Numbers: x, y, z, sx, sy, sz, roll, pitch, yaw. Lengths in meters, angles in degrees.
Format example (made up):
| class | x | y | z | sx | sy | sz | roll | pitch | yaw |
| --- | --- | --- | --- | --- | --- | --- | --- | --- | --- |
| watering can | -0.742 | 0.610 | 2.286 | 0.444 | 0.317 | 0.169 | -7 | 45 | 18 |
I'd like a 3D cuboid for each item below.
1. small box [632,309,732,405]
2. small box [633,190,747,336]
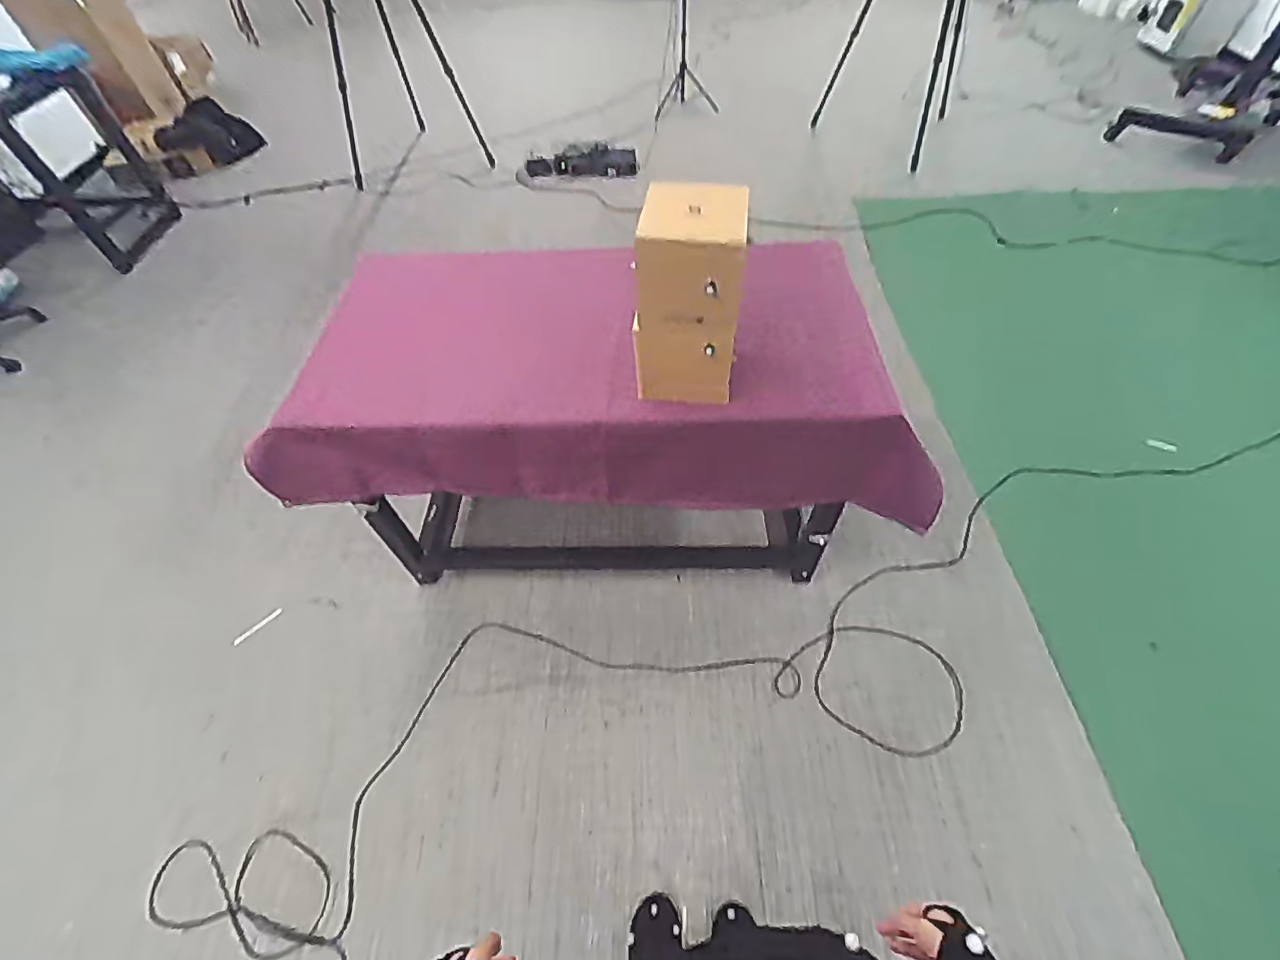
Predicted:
| class | x | y | z | sx | sy | sz | roll | pitch | yaw |
| --- | --- | --- | --- | --- | --- | --- | --- | --- | --- |
| small box | 0.084 | -0.259 | 1.038 | 0.179 | 0.176 | 0.168 | 4 | 52 | 6 |
| small box | 0.086 | -0.363 | 0.913 | 0.168 | 0.176 | 0.179 | 6 | 52 | 7 |
